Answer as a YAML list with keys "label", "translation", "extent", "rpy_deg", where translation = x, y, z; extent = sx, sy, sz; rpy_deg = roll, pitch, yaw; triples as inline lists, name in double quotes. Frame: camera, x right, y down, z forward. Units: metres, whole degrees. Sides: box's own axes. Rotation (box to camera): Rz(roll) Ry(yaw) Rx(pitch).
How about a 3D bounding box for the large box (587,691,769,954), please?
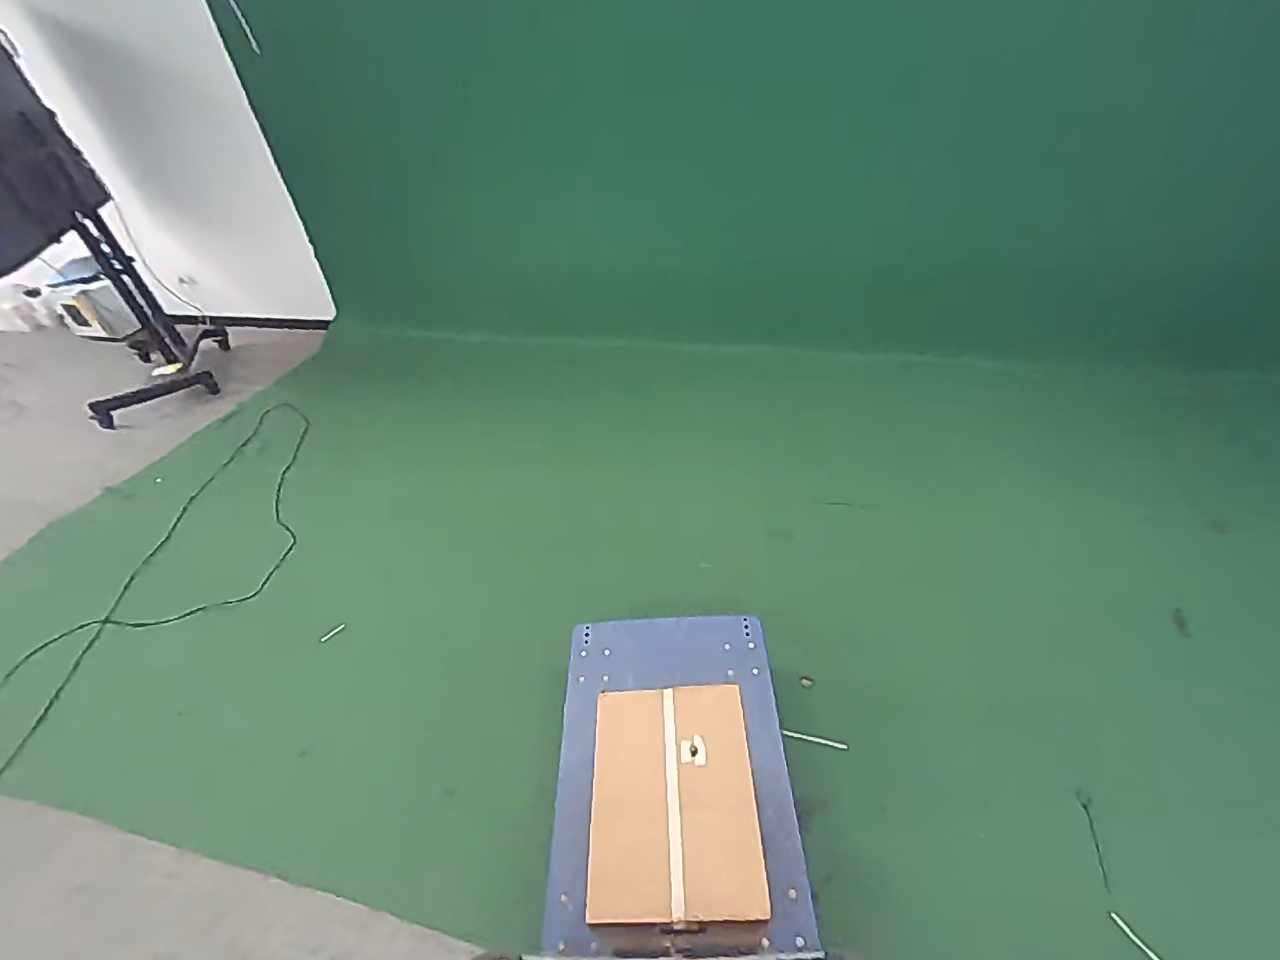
- label: "large box"
  translation: [0.078, 0.719, 1.148]
  extent: [0.320, 0.320, 0.408]
  rpy_deg: [-4, 42, 4]
